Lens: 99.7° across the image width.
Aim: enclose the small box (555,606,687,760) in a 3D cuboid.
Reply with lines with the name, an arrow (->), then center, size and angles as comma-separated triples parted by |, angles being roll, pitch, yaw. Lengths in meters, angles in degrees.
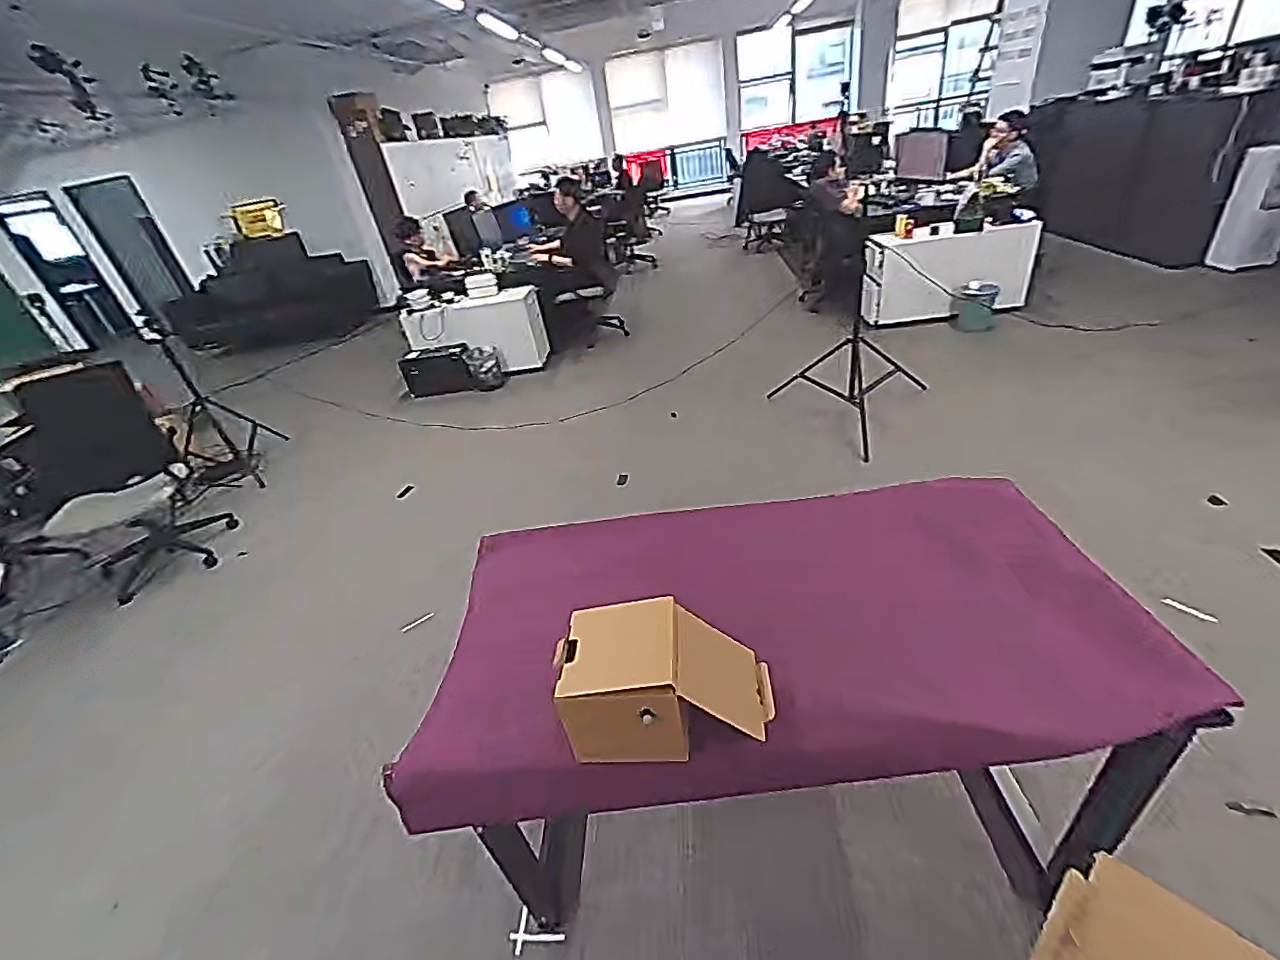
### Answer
small box -> -0.018, 0.322, 0.858 | 0.179, 0.176, 0.168 | -6, 32, 8
